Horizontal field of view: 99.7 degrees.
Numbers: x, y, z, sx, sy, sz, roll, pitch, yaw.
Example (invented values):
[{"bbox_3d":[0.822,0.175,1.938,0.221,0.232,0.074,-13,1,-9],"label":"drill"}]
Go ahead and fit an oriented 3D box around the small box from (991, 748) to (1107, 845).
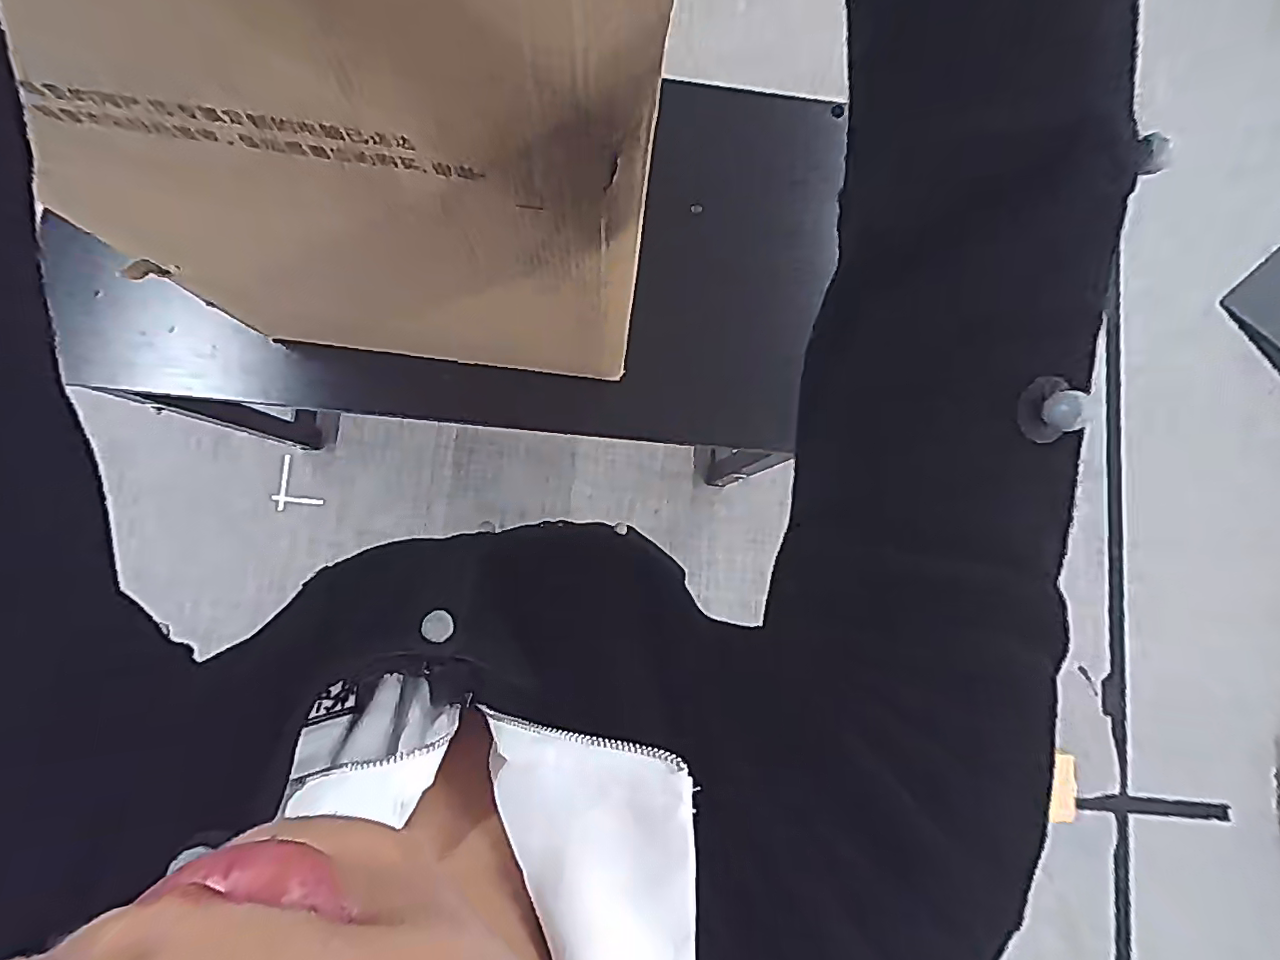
[{"bbox_3d":[1.049,0.807,1.393,0.179,0.176,0.168,4,83,-3],"label":"small box"}]
